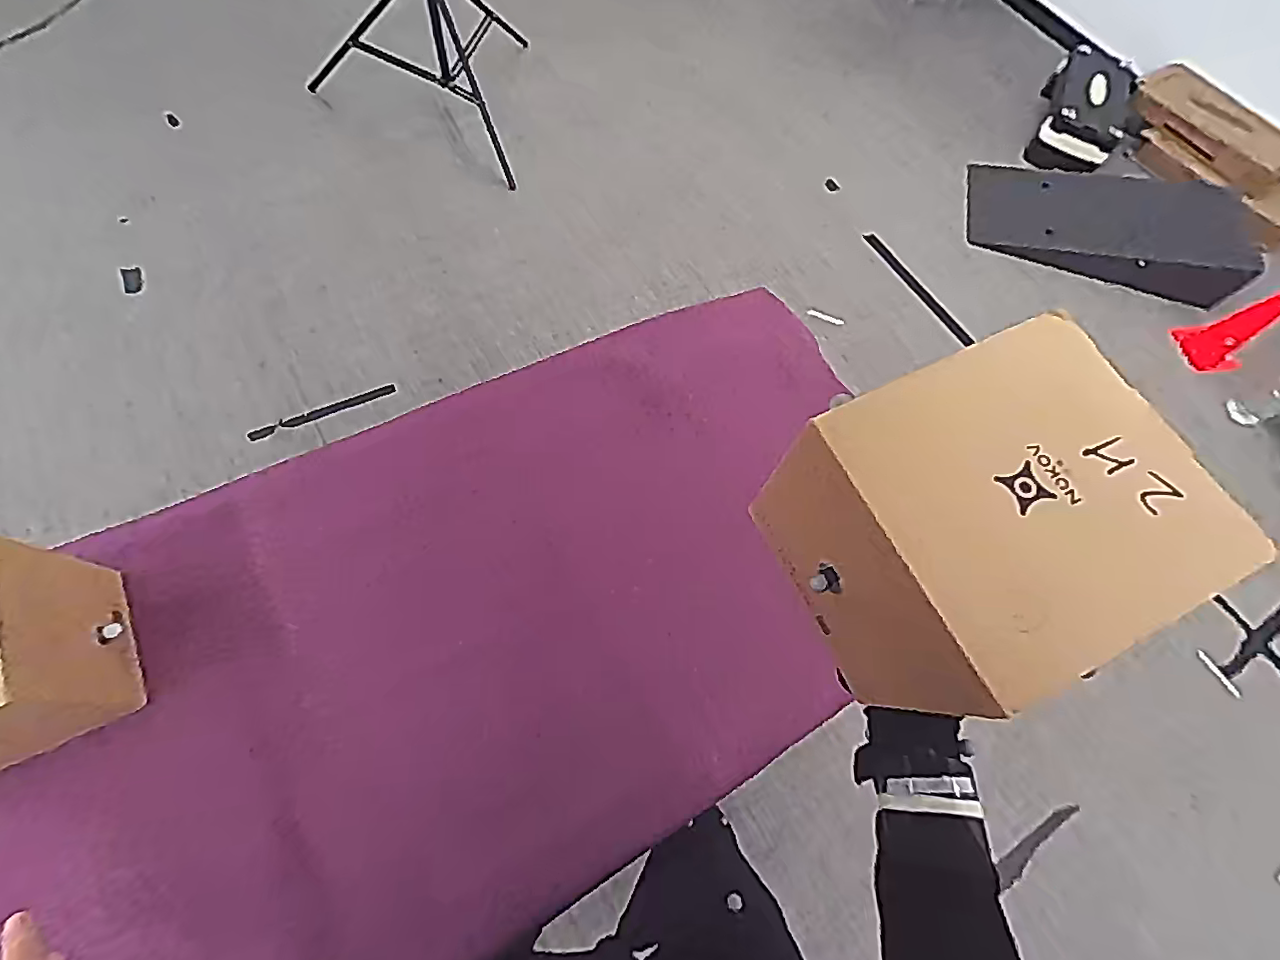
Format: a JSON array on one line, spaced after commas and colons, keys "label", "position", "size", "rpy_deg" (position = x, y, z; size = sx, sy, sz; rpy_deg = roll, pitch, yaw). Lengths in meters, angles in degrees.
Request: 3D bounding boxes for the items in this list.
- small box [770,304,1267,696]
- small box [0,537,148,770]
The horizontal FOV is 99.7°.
[{"label": "small box", "position": [0.204, 0.026, 0.358], "size": [0.179, 0.176, 0.168], "rpy_deg": [-25, 73, -10]}, {"label": "small box", "position": [-0.633, 0.179, 0.512], "size": [0.179, 0.176, 0.168], "rpy_deg": [-23, 73, -17]}]
